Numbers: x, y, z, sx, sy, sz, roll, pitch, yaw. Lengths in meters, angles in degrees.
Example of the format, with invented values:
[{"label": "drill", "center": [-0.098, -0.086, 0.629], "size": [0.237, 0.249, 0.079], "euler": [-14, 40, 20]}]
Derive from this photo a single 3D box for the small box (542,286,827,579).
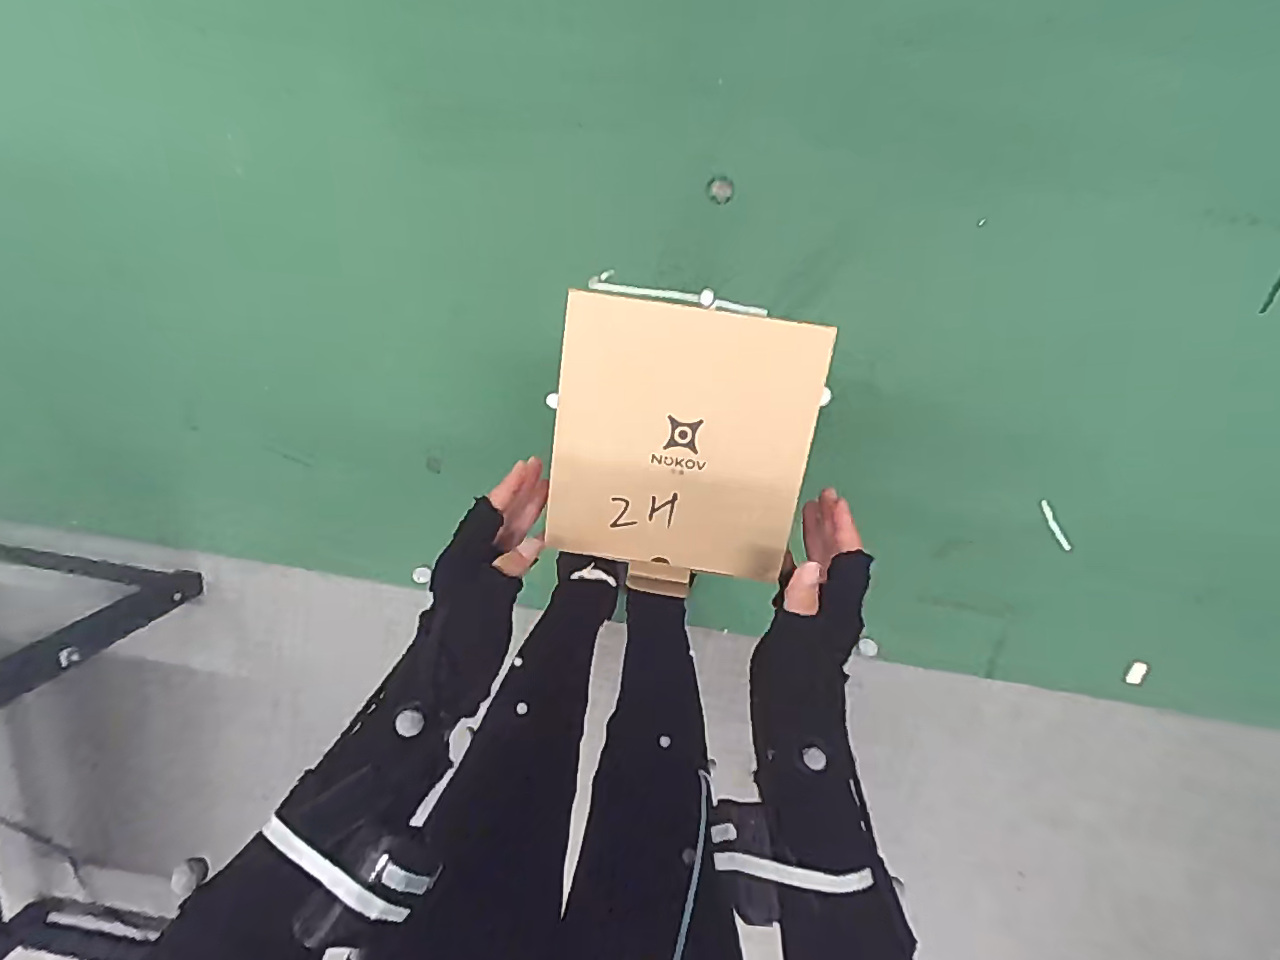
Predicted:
[{"label": "small box", "center": [0.028, -0.047, 0.430], "size": [0.168, 0.176, 0.179], "euler": [9, 107, 2]}]
